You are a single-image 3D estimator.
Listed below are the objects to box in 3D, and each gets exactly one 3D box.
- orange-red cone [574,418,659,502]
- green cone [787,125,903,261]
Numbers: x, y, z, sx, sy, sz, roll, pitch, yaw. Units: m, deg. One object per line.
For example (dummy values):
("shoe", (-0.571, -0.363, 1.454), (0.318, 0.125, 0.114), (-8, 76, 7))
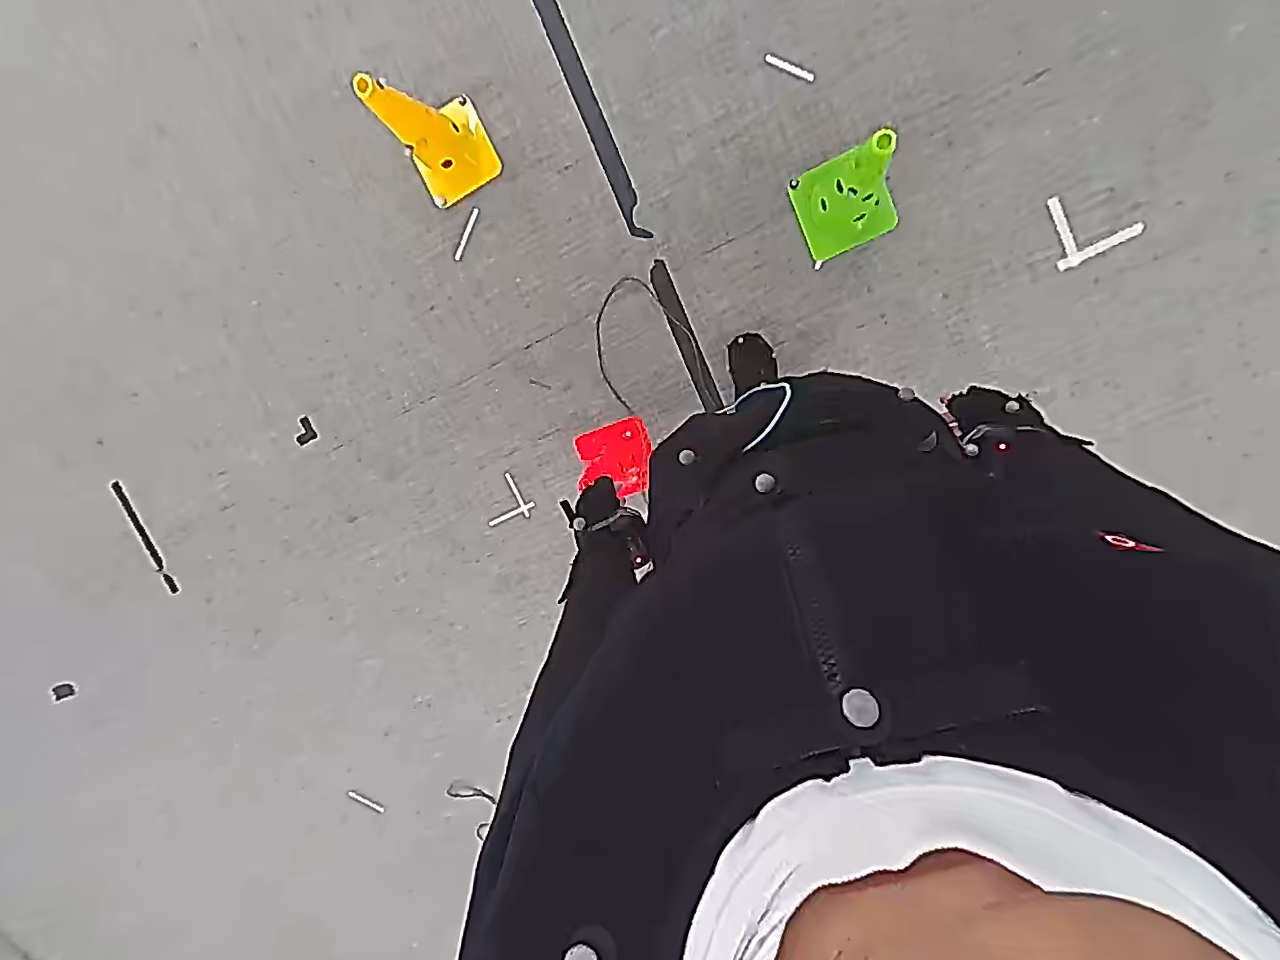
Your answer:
("orange-red cone", (-0.091, -0.020, 1.286), (0.199, 0.360, 0.198), (-18, 97, 13))
("green cone", (0.440, -0.601, 1.078), (0.202, 0.368, 0.200), (-23, 97, 11))
